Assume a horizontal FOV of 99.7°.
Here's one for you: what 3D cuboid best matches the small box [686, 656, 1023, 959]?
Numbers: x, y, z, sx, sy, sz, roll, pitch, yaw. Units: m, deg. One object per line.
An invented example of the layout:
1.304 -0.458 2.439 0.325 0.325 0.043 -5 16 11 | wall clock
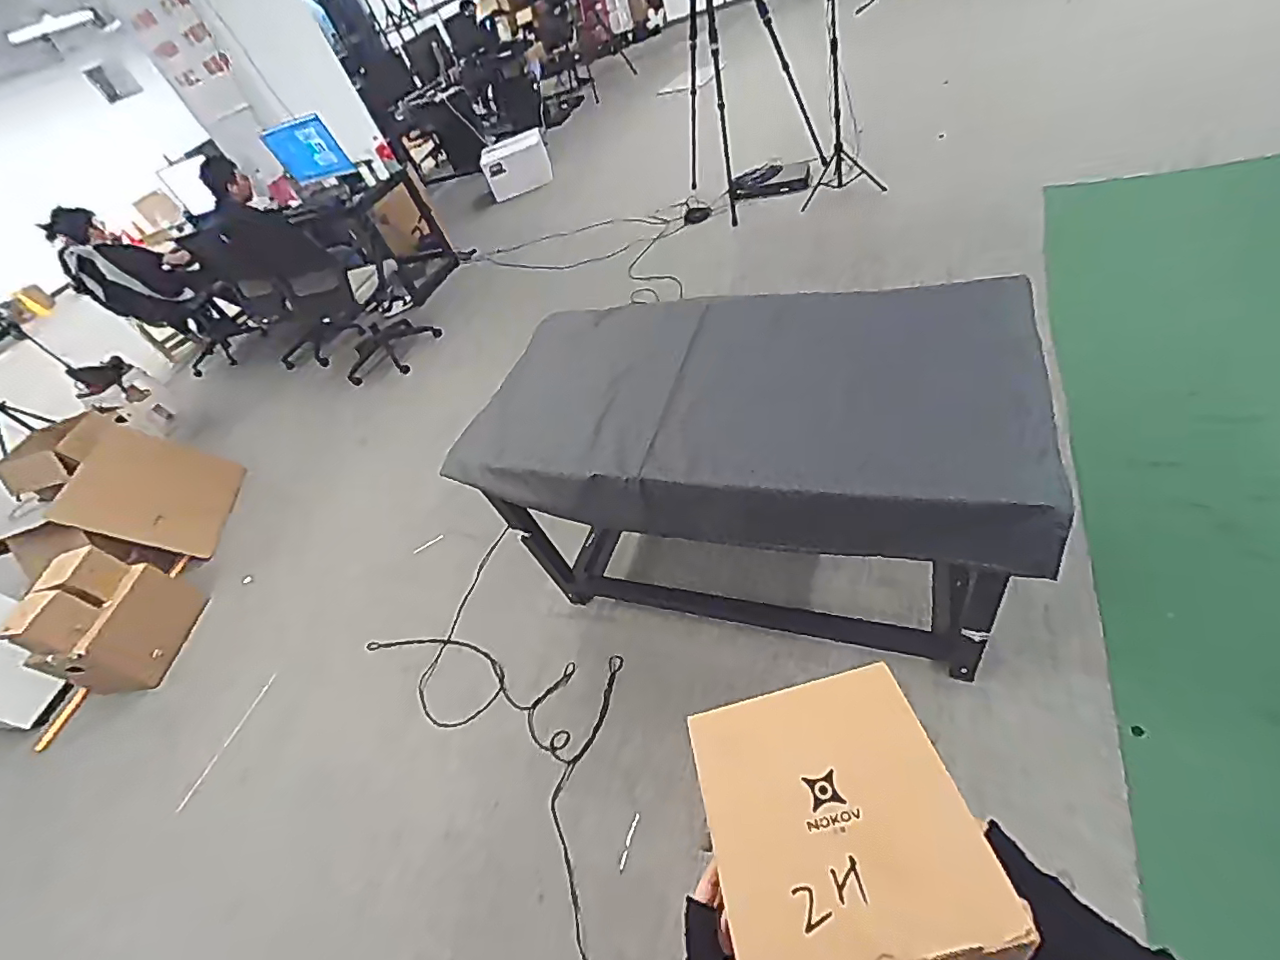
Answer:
0.144 0.272 0.413 0.168 0.176 0.179 -18 37 6 | small box
